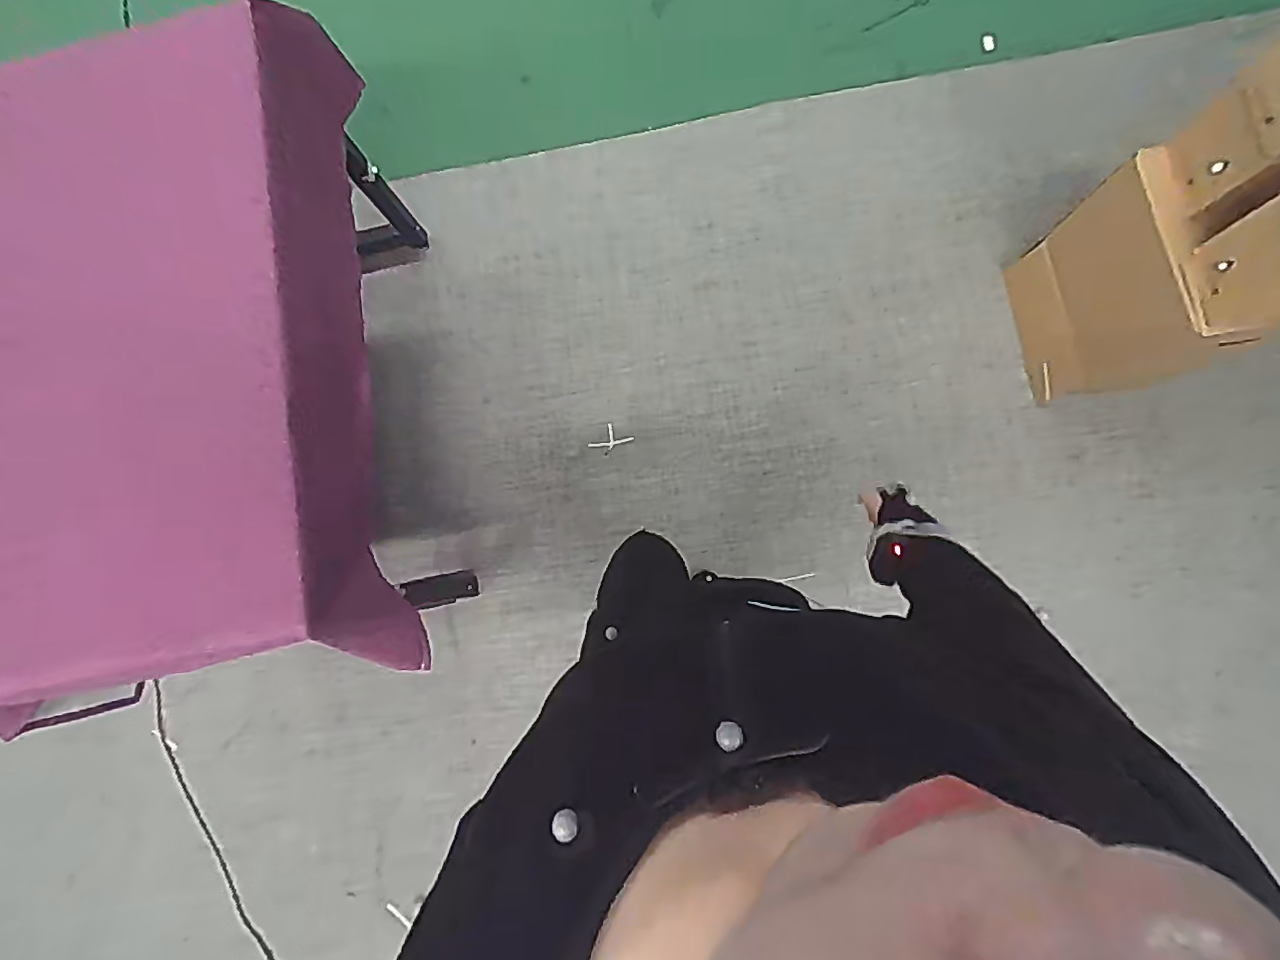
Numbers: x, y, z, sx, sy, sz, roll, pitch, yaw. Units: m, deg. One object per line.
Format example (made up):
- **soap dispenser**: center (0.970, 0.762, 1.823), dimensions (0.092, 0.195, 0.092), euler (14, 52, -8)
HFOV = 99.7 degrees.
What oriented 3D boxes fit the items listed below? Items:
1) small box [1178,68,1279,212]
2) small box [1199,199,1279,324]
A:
- **small box**: center (1.152, -0.622, 0.994), dimensions (0.179, 0.176, 0.168), euler (-7, 83, 5)
- **small box**: center (1.166, -0.390, 0.954), dimensions (0.179, 0.176, 0.168), euler (-2, 80, 6)
